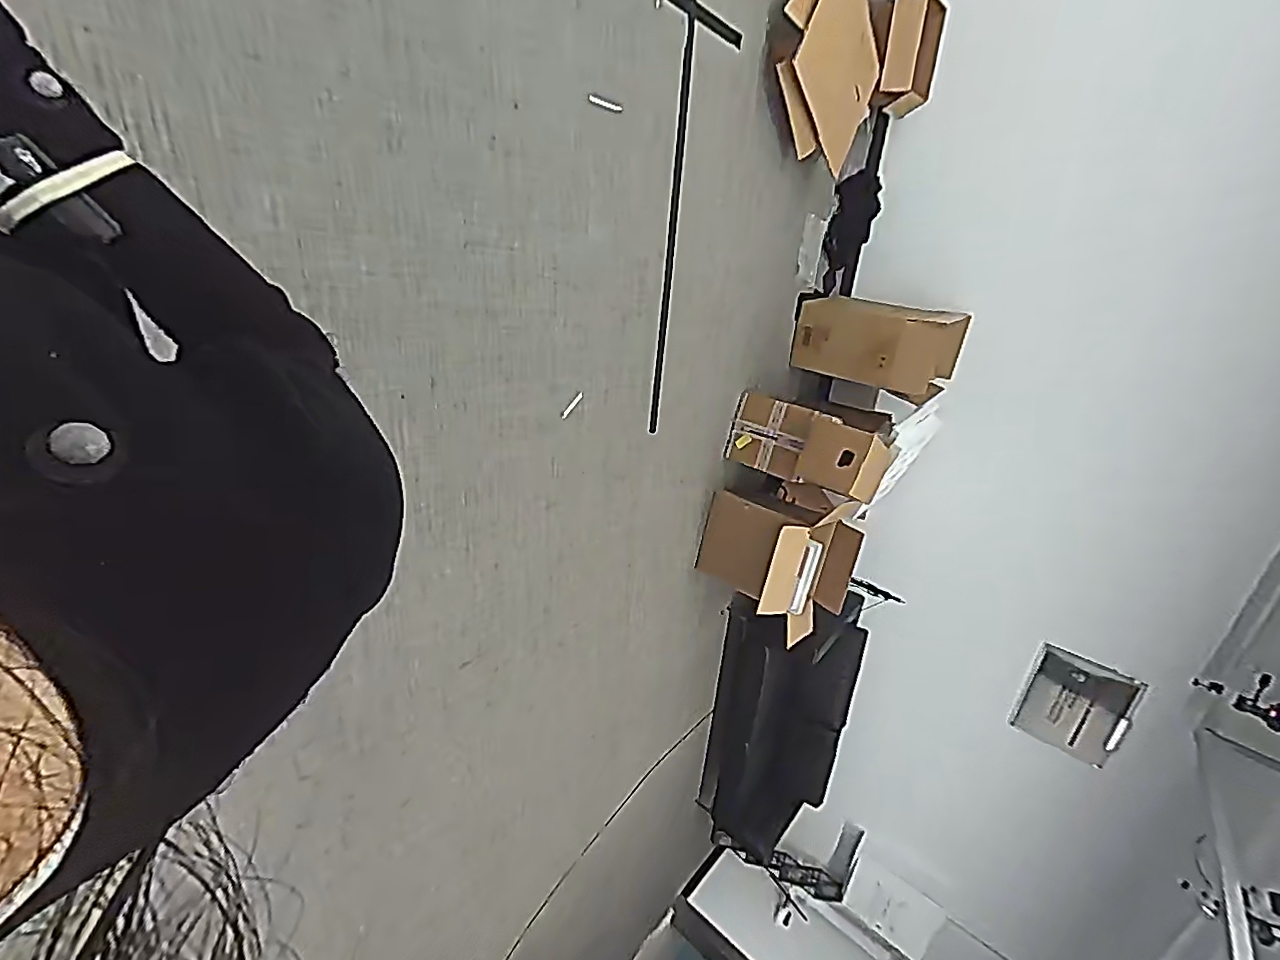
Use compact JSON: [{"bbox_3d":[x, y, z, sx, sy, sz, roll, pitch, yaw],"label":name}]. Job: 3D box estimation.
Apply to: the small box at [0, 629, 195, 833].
[{"bbox_3d":[-0.799,0.357,0.801,0.168,0.176,0.179,-21,122,-46],"label":"small box"}]
